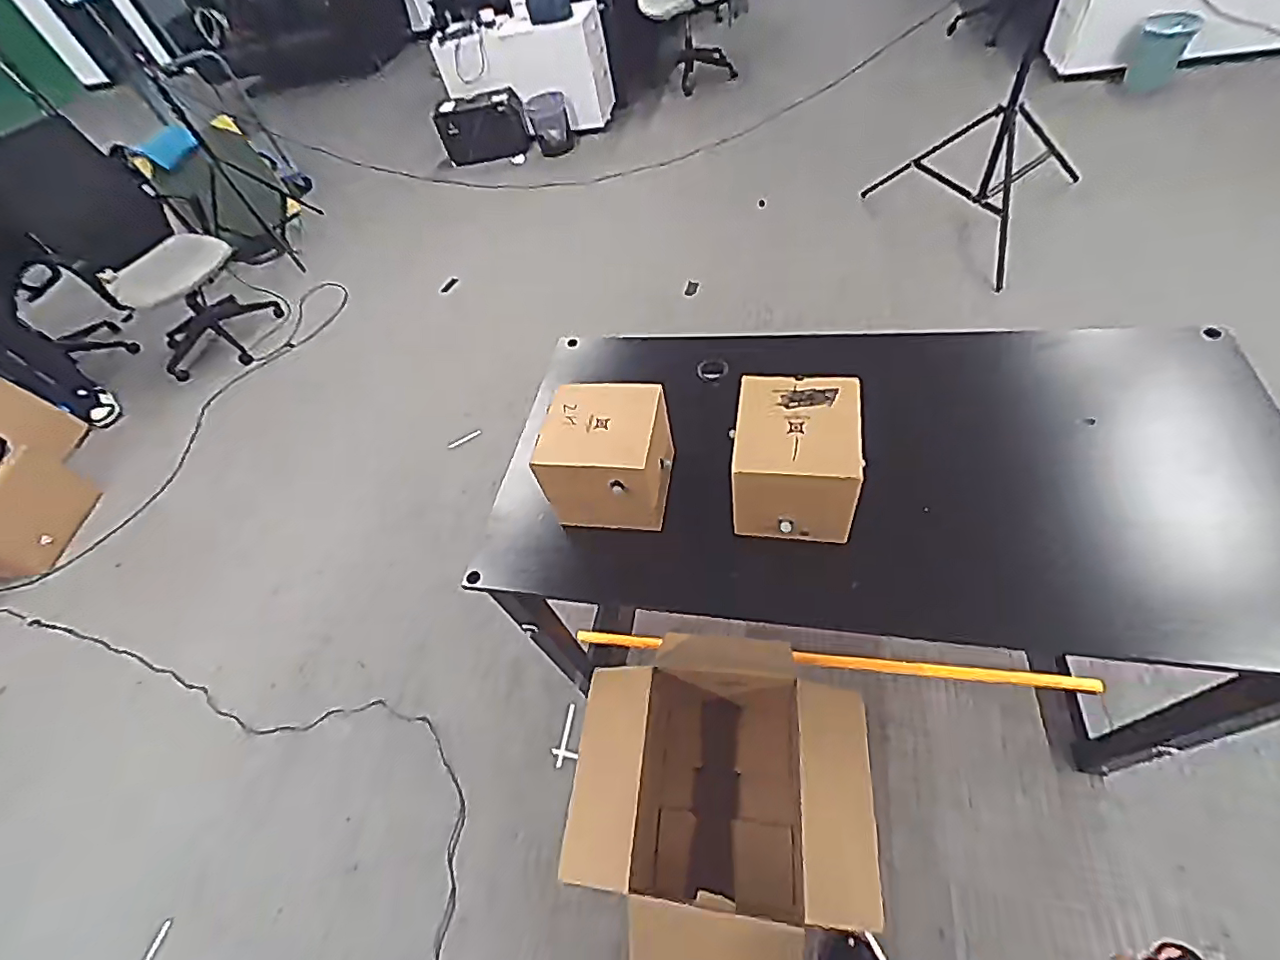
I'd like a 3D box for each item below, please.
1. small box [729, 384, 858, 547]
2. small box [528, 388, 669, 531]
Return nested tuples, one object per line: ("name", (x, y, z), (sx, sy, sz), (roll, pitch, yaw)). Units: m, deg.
("small box", (0.225, -0.022, 0.809), (0.168, 0.176, 0.179), (3, 55, 15))
("small box", (-0.053, -0.030, 0.872), (0.179, 0.176, 0.168), (2, 54, 13))
